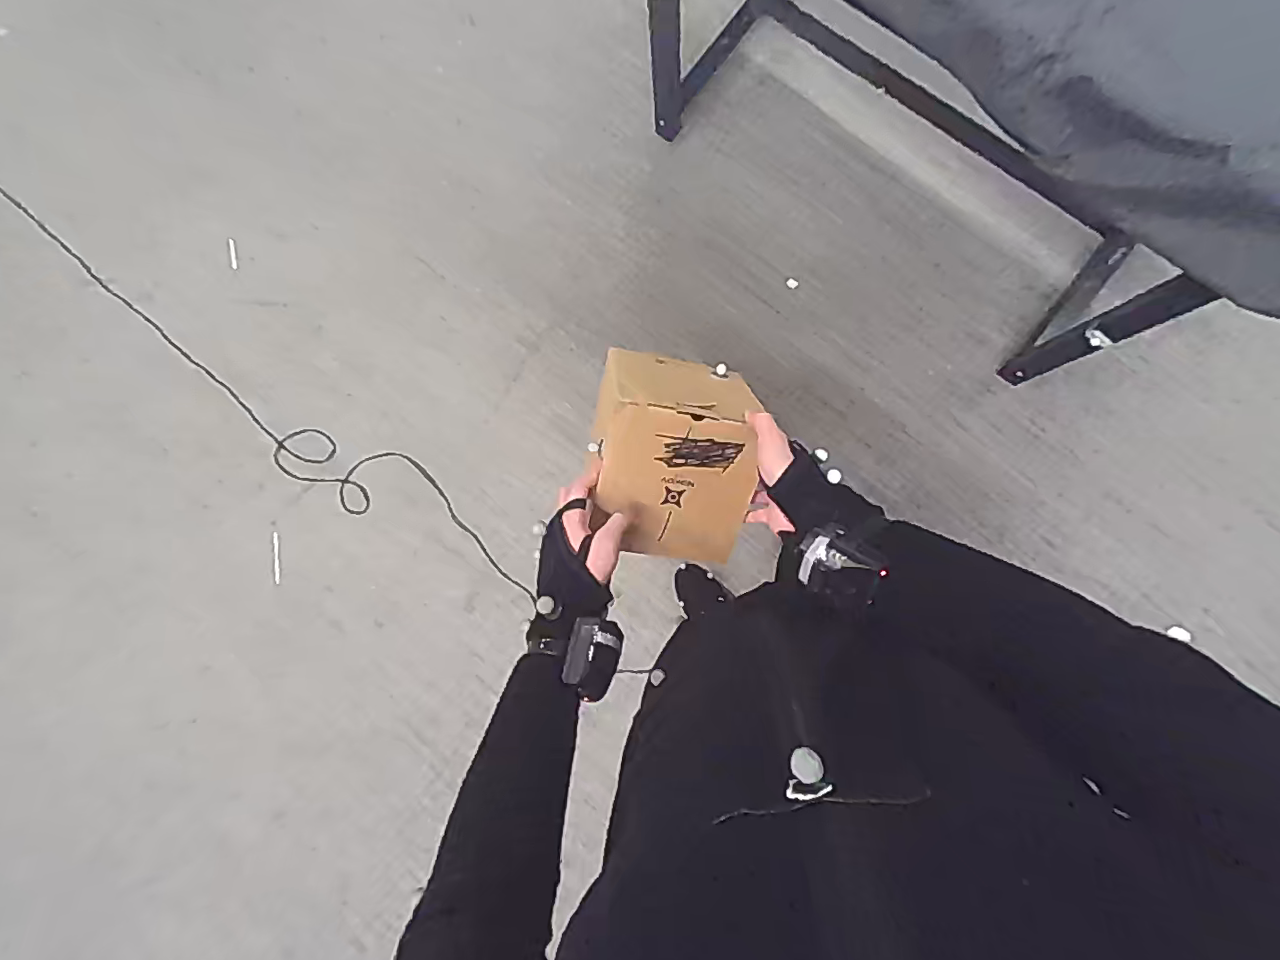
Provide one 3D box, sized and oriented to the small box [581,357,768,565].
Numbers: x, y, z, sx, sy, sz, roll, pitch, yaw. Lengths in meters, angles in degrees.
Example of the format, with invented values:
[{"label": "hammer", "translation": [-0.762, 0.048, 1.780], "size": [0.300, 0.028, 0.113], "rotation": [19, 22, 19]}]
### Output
[{"label": "small box", "translation": [0.025, -0.028, 0.628], "size": [0.168, 0.176, 0.179], "rotation": [9, 119, -9]}]
